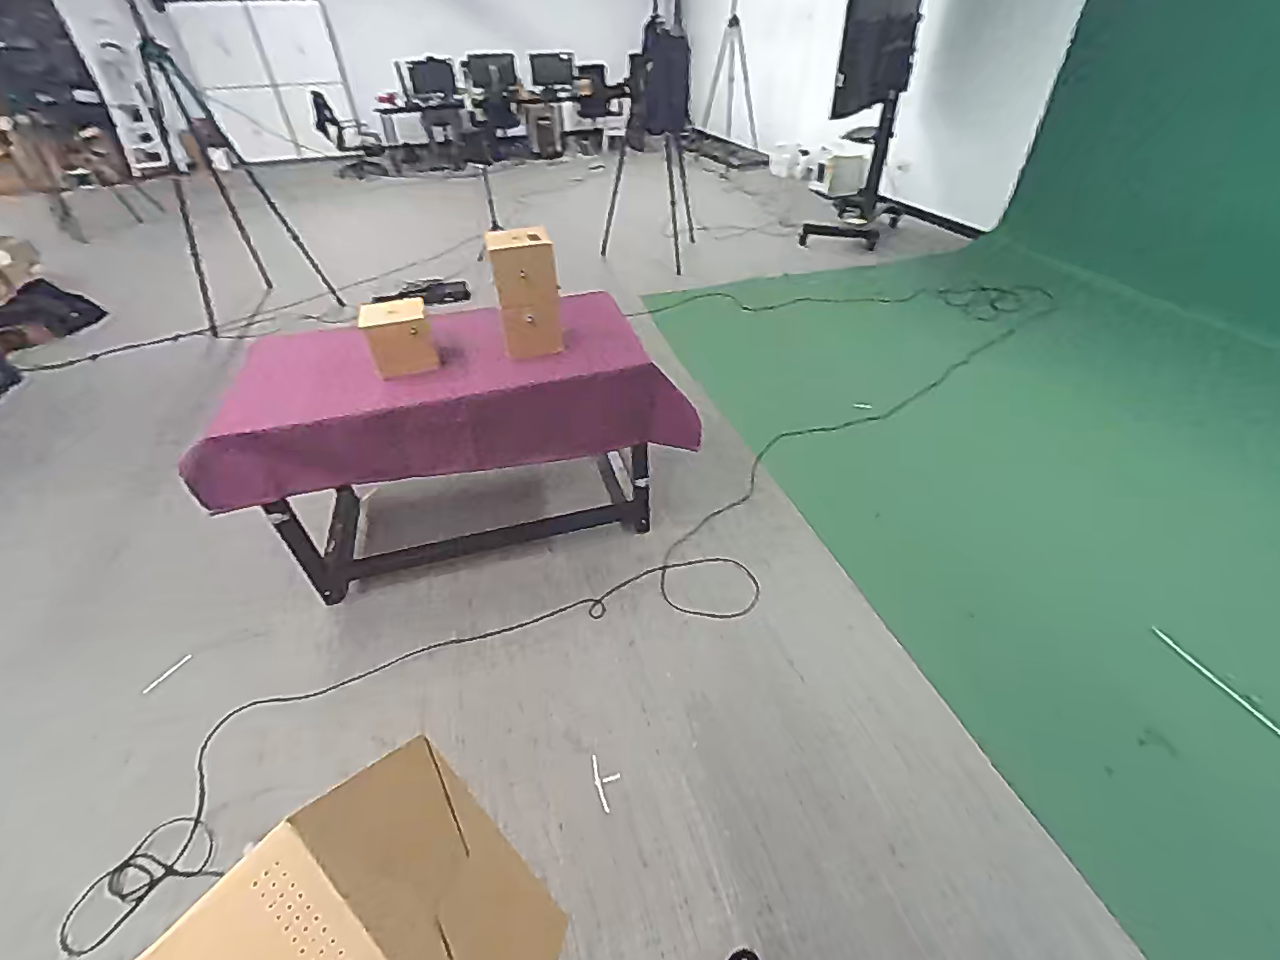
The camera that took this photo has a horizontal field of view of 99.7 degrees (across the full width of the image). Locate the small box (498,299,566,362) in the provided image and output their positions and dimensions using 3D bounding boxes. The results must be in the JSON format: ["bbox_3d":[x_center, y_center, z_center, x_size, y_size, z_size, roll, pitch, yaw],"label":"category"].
[{"bbox_3d":[-0.335,-0.483,1.682,0.179,0.176,0.168,-11,41,-11],"label":"small box"}]

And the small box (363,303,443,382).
[{"bbox_3d":[-0.707,-0.410,1.620,0.179,0.176,0.168,-14,41,-14],"label":"small box"}]

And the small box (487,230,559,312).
[{"bbox_3d":[-0.337,-0.608,1.575,0.179,0.176,0.168,-12,42,-10],"label":"small box"}]

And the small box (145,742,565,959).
[{"bbox_3d":[-0.171,0.298,0.326,0.176,0.168,0.179,-43,81,-6],"label":"small box"}]
